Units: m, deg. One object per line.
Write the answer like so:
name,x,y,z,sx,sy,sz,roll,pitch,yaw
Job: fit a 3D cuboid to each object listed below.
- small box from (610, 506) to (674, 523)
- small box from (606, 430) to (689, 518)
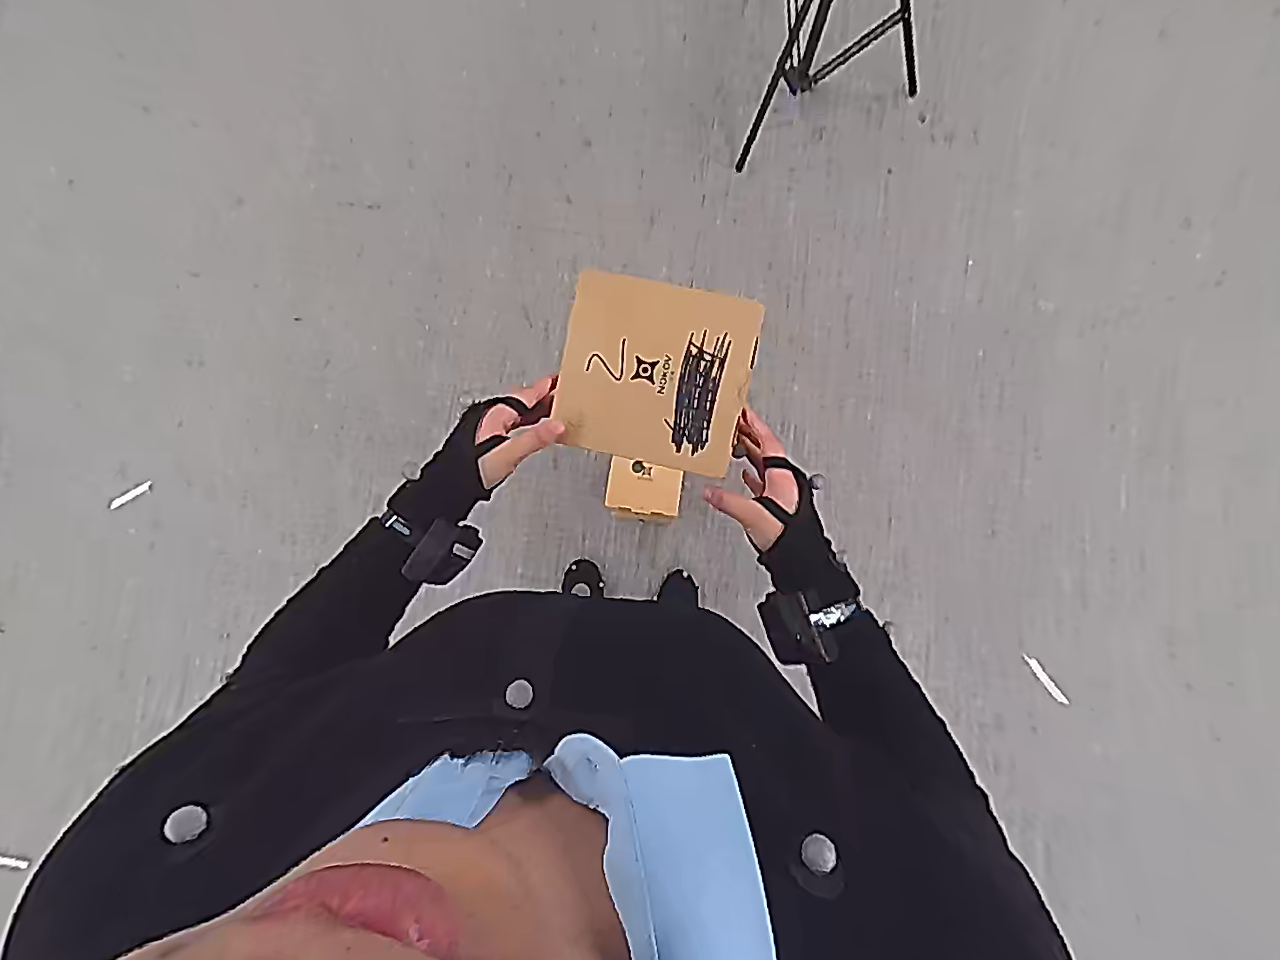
small box,0.018,0.019,1.441,0.168,0.176,0.179,6,83,2
small box,0.018,-0.009,1.280,0.168,0.176,0.179,8,84,3
